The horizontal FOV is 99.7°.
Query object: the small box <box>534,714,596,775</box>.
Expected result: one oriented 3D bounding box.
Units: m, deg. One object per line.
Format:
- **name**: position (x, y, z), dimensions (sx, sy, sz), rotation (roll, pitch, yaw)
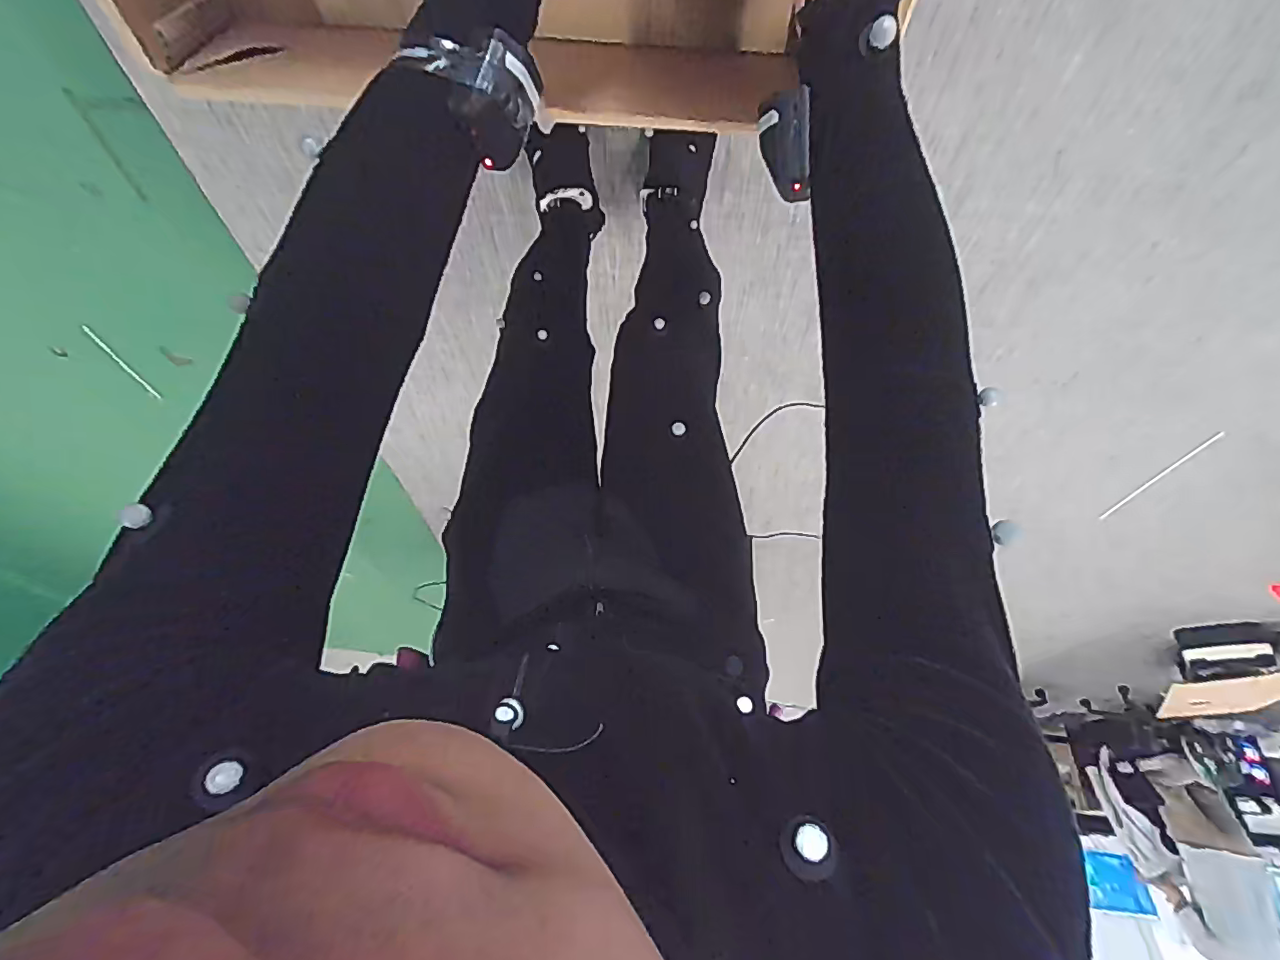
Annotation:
- **small box**: position (-0.257, 0.932, 1.902), dimensions (0.168, 0.176, 0.179), rotation (-1, 147, 10)
